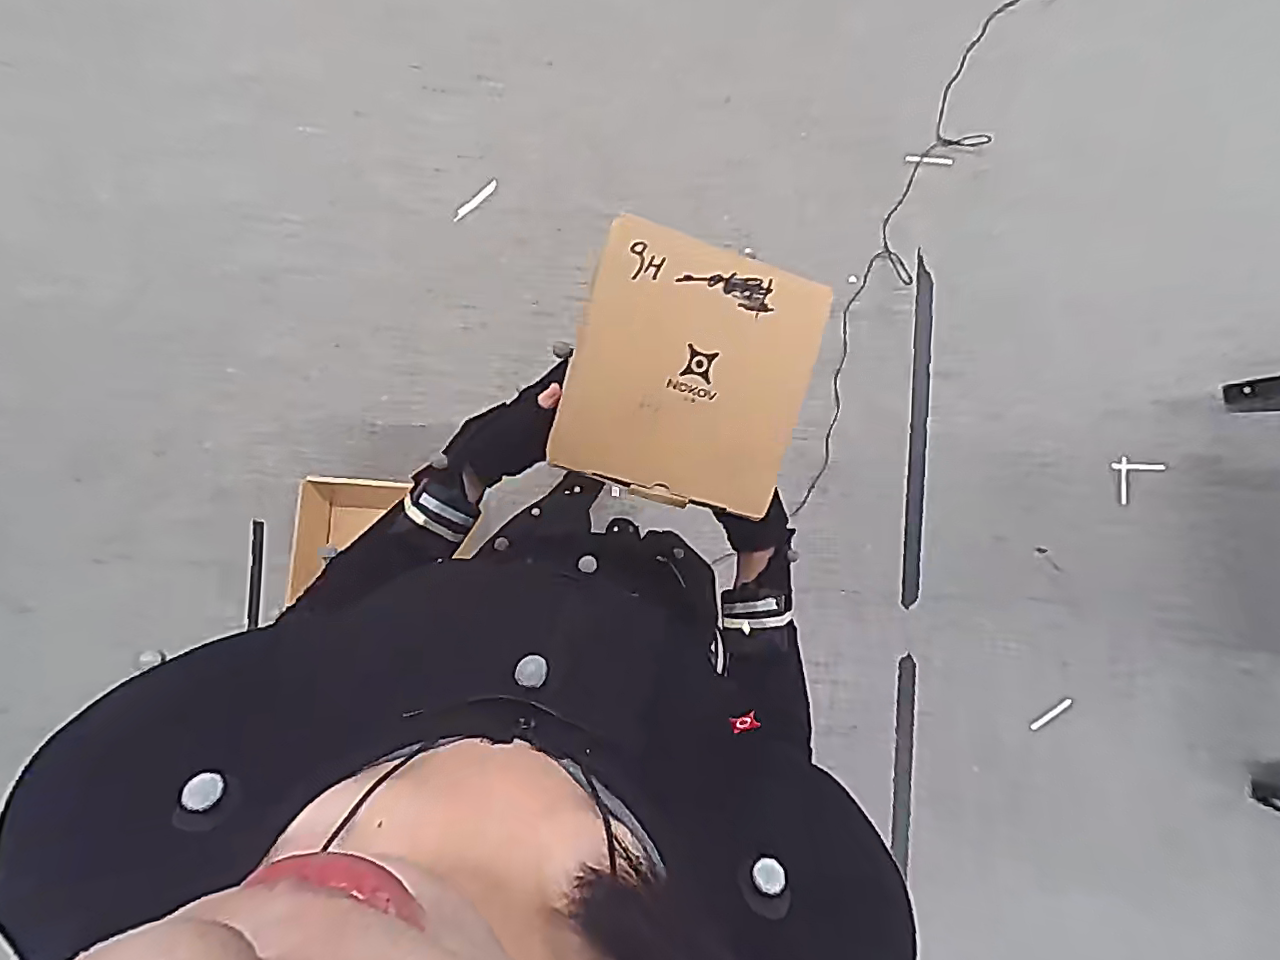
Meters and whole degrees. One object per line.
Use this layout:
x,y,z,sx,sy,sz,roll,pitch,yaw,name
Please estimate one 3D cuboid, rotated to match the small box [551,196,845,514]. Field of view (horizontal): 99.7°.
0.030,-0.092,0.446,0.168,0.176,0.179,15,97,-12,small box
